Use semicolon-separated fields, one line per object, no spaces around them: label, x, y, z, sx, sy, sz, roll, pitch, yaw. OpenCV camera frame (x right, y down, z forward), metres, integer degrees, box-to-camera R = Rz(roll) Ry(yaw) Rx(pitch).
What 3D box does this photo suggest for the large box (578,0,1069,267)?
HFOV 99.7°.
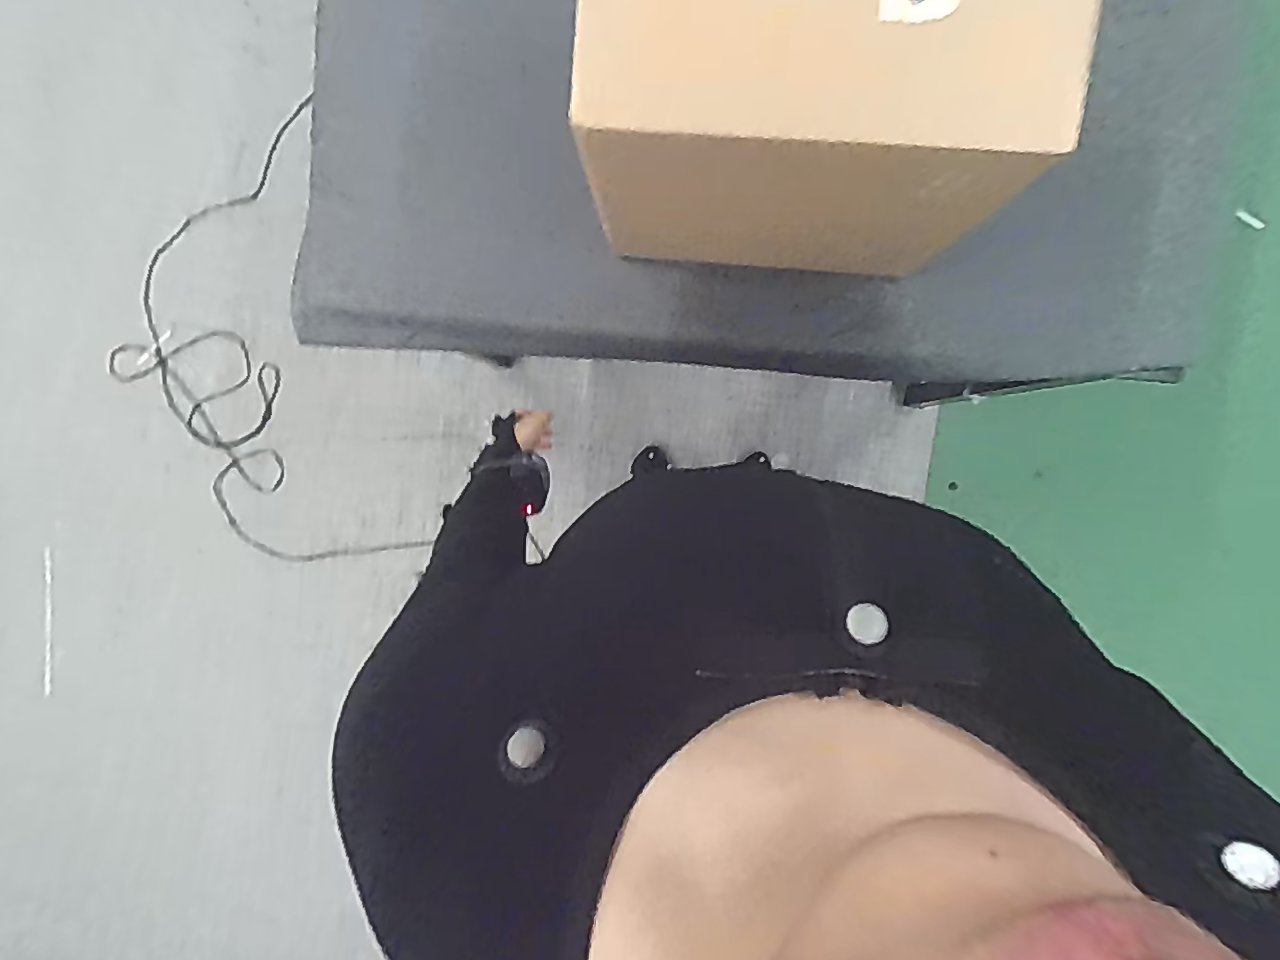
large box;0.158;-0.445;0.593;0.408;0.320;0.320;5;94;3
